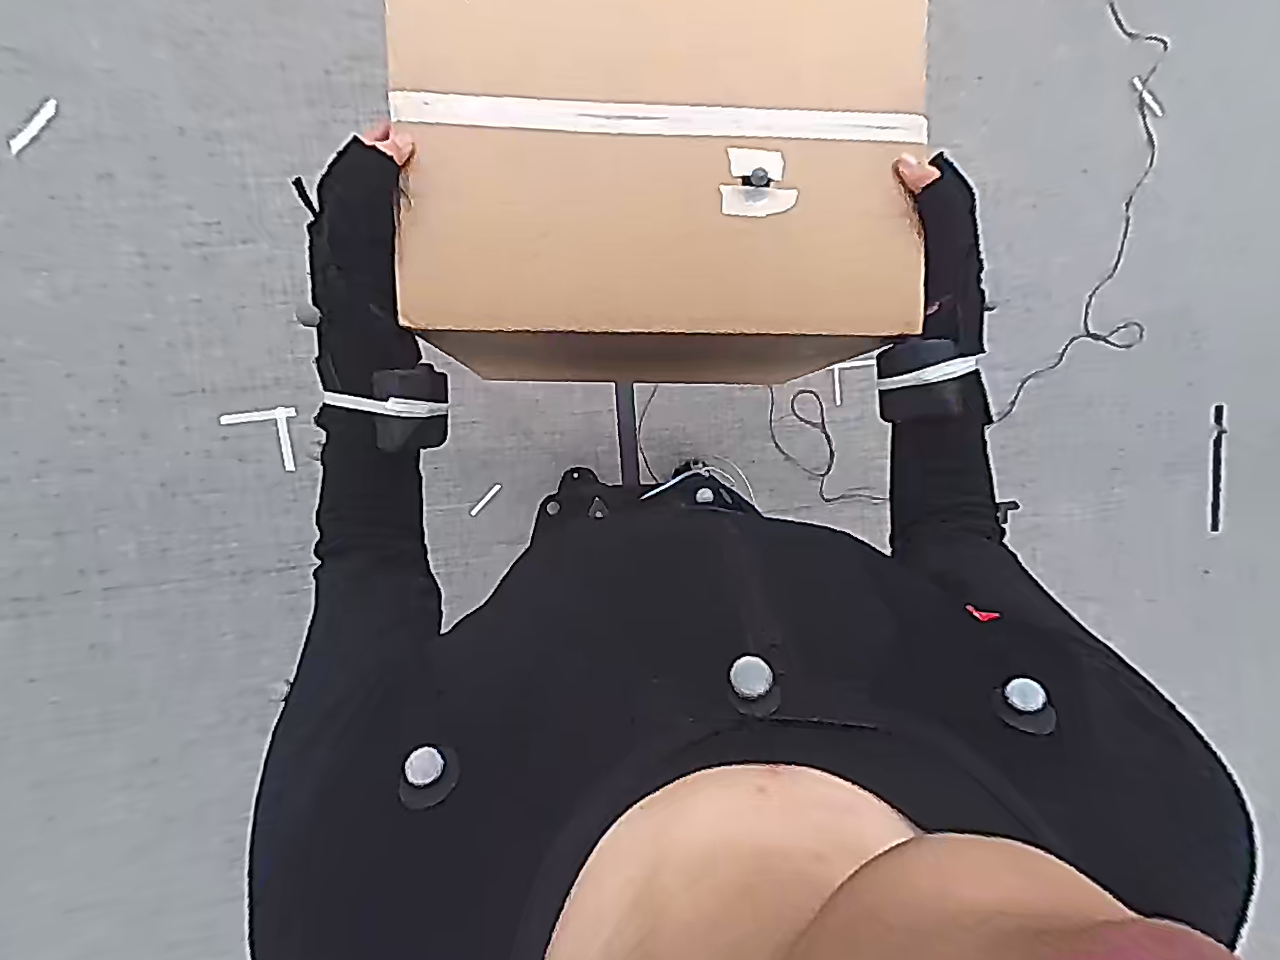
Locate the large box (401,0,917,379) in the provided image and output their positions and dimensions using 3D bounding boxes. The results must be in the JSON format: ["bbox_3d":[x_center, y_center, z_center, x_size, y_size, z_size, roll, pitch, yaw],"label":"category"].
[{"bbox_3d":[0.007,-0.281,0.566,0.408,0.320,0.320,0,94,-6],"label":"large box"}]
